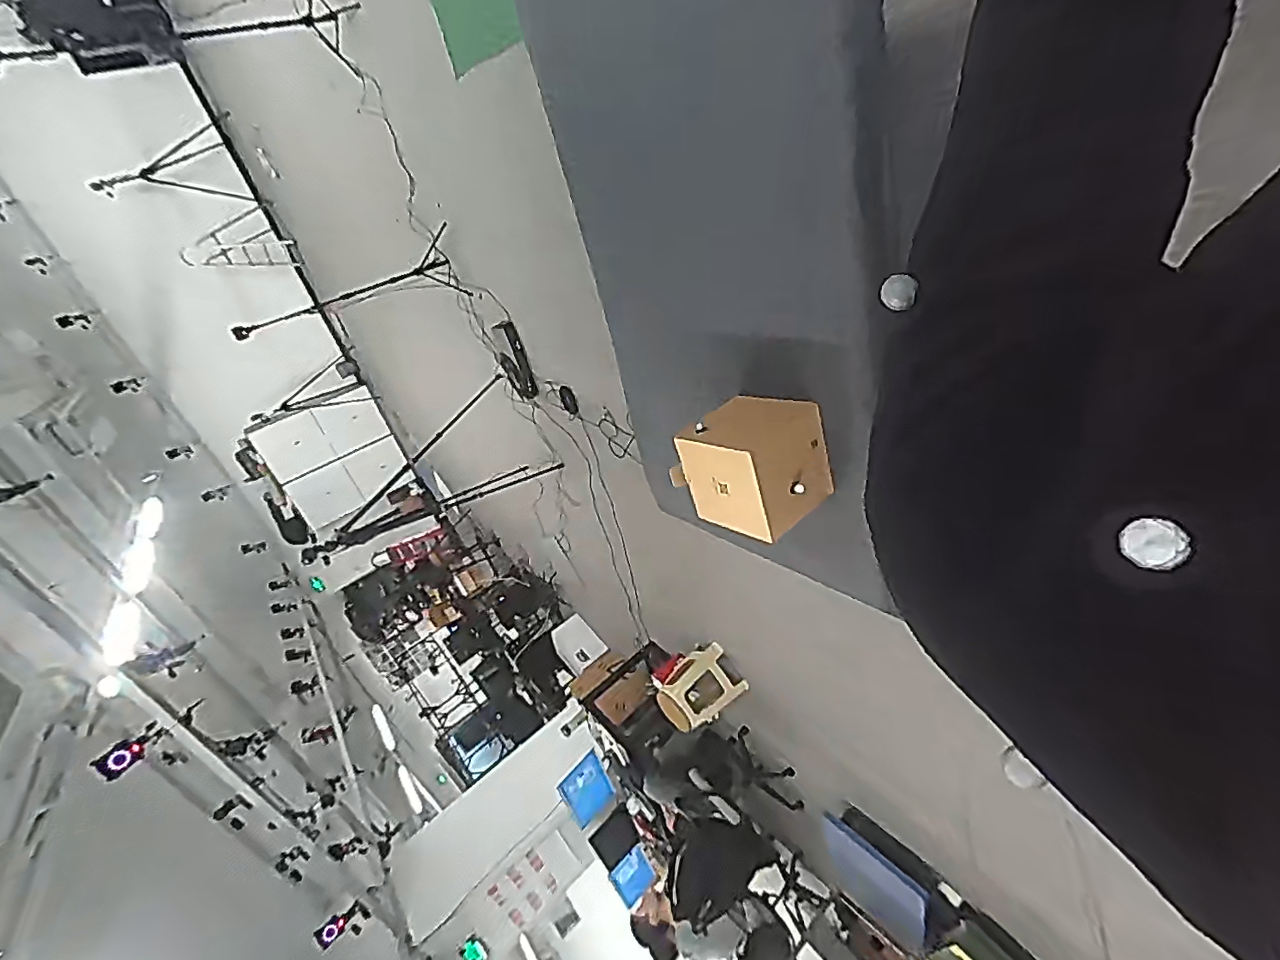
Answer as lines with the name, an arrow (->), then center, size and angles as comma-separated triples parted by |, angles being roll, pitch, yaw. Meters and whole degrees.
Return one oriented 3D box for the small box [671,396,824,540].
small box -> 0.187, -0.030, 0.902 | 0.179, 0.176, 0.168 | 17, 134, 52
